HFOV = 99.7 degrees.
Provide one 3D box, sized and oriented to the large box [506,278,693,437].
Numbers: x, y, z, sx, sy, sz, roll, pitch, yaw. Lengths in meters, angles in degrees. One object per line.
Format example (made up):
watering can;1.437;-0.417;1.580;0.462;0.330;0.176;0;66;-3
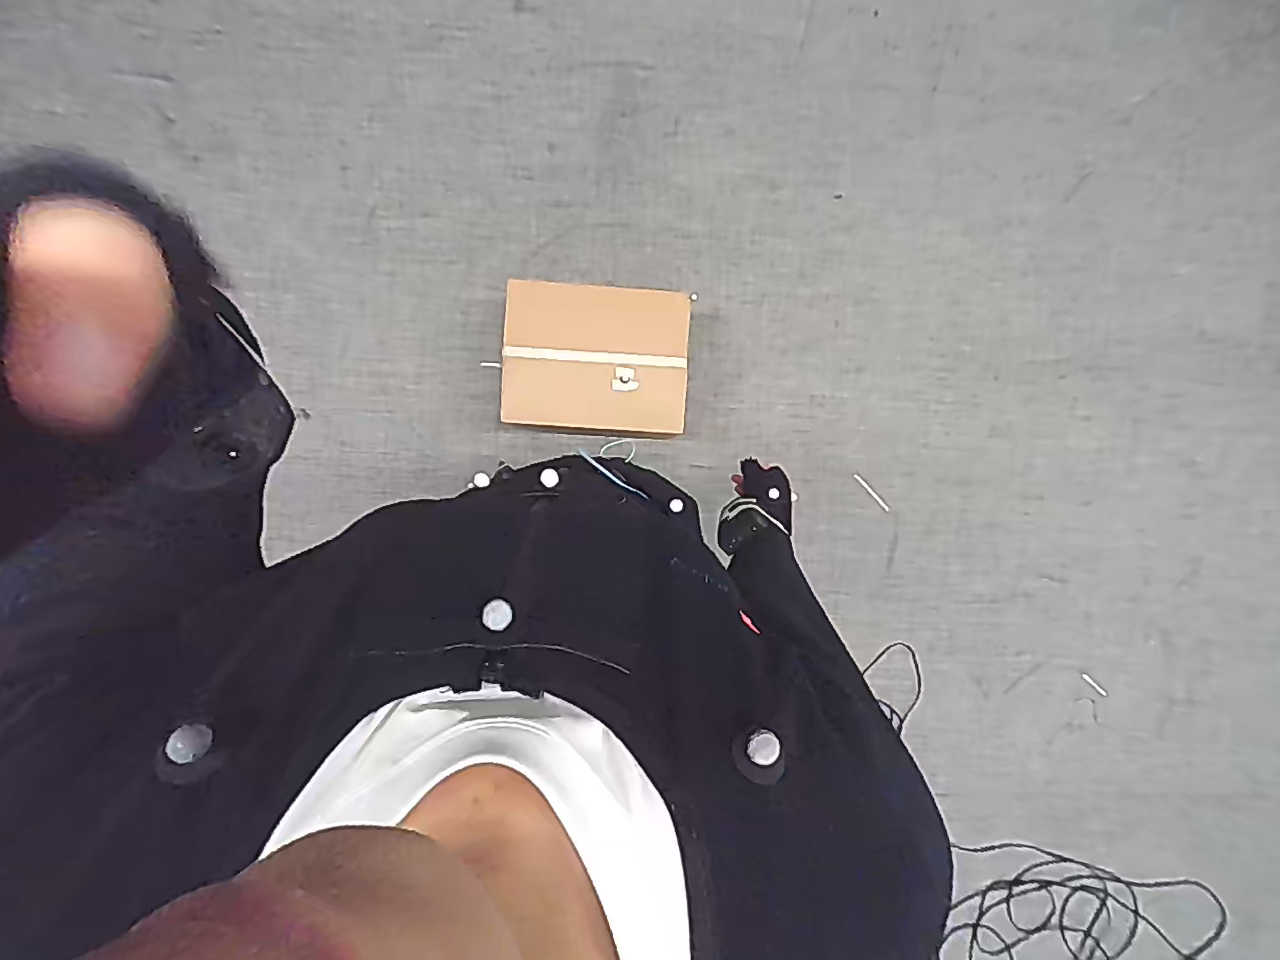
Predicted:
large box;-0.098;-0.278;1.330;0.408;0.320;0.320;3;92;-3
